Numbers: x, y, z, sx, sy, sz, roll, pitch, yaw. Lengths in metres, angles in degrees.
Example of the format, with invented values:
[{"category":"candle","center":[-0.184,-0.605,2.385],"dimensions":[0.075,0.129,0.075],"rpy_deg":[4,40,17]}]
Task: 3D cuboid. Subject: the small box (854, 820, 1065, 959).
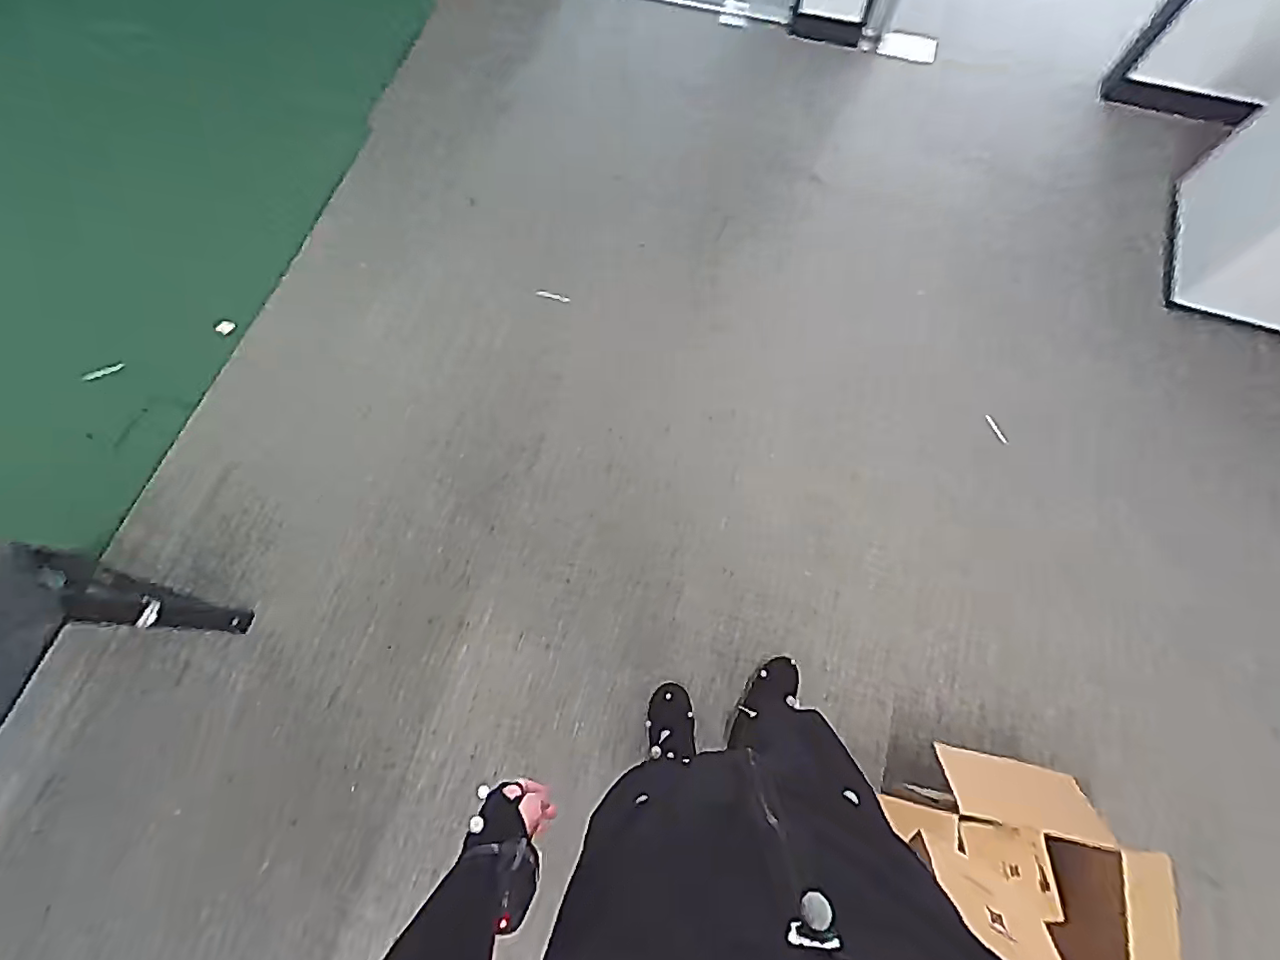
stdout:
[{"category":"small box","center":[0.393,0.591,0.675],"dimensions":[0.168,0.179,0.176],"rpy_deg":[30,106,7]}]
